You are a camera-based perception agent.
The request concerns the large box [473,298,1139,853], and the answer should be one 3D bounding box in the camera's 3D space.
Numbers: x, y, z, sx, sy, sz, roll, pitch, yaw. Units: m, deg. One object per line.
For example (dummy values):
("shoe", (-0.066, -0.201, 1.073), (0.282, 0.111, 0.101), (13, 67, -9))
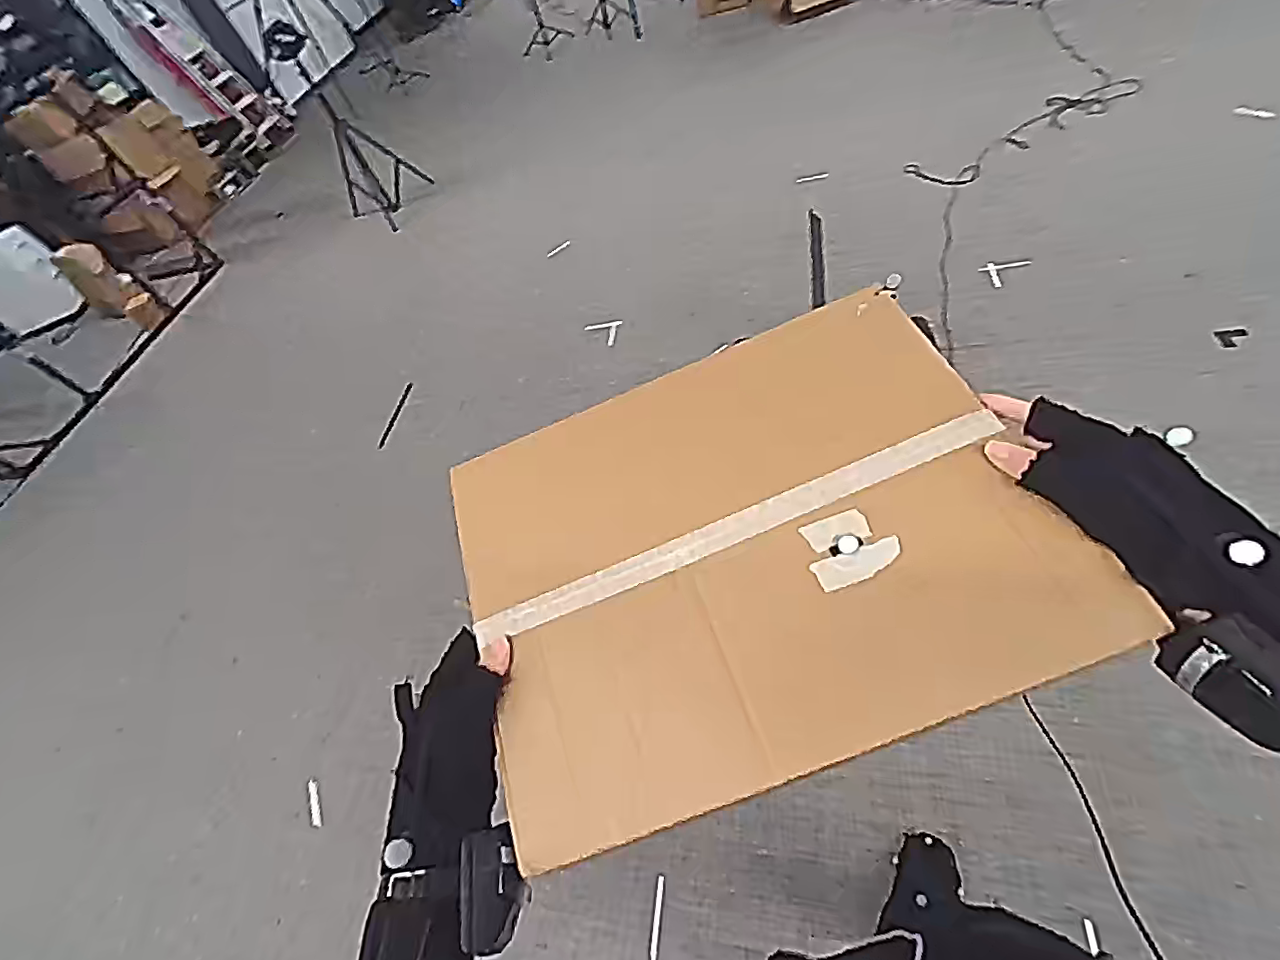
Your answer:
("large box", (0.109, 0.106, 0.536), (0.408, 0.320, 0.320), (-23, 61, 3))
